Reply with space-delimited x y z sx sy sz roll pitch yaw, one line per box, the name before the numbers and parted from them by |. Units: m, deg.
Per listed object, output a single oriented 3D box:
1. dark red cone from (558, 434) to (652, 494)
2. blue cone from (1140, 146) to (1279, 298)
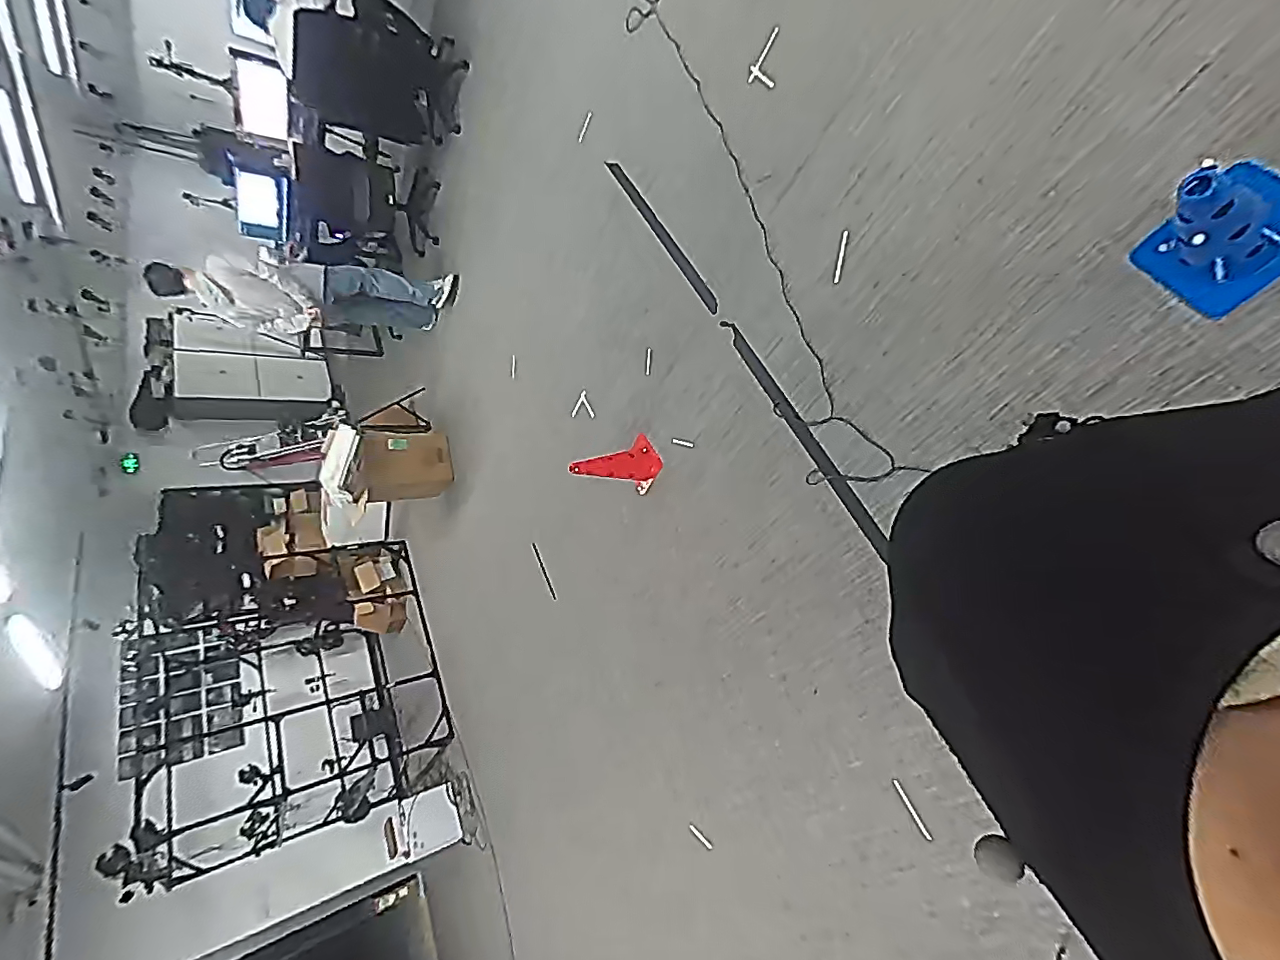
dark red cone | -0.154 -0.059 2.200 0.202 0.394 0.201 57 133 33
blue cone | 0.897 -0.426 0.836 0.192 0.380 0.193 -52 54 40
